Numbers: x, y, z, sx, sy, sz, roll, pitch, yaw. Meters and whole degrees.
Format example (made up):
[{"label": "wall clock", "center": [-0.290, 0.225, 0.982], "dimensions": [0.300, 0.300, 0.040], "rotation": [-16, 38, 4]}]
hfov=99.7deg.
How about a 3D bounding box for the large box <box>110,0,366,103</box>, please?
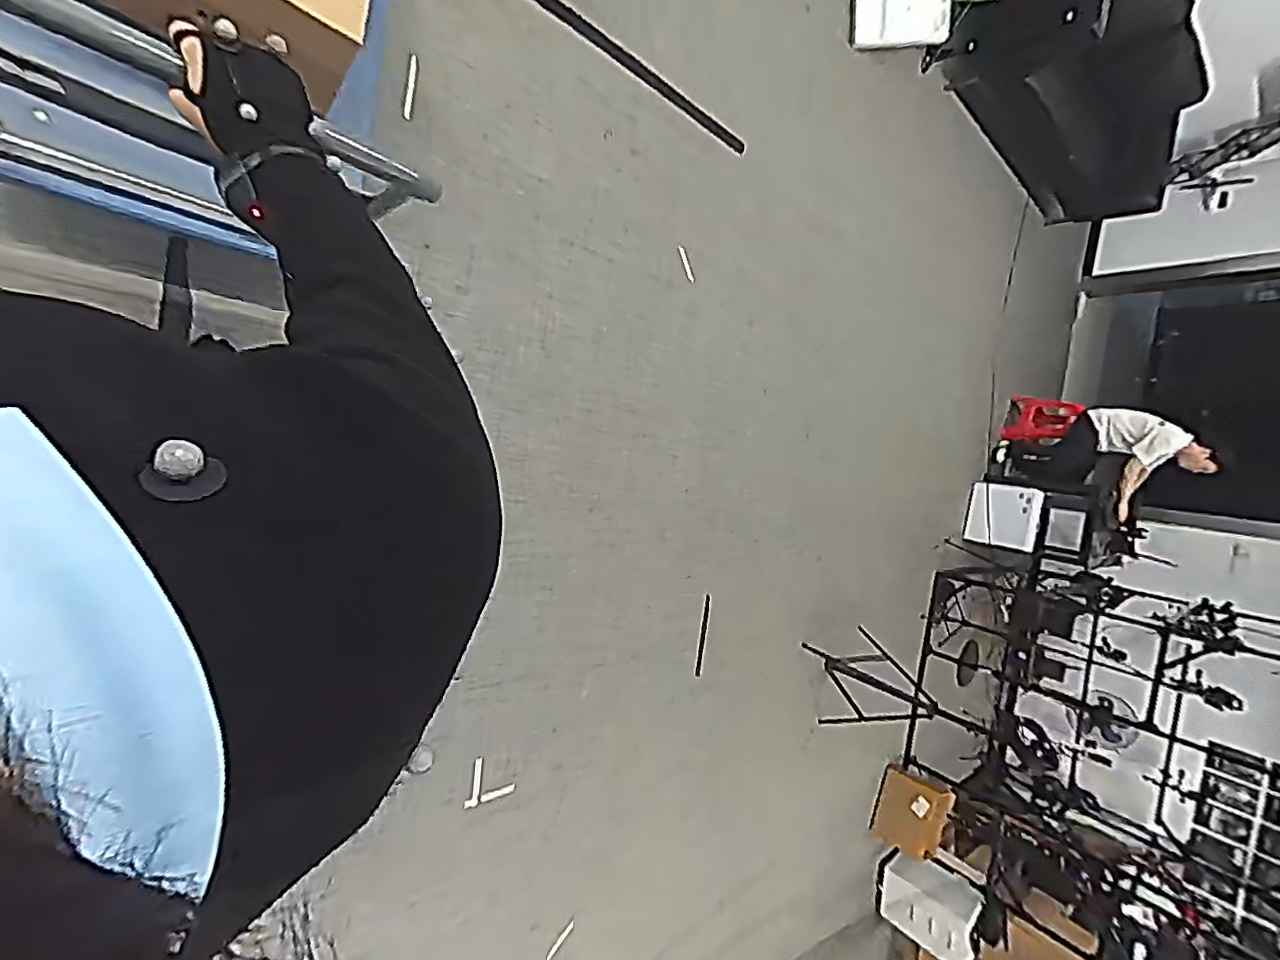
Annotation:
[{"label": "large box", "center": [-0.660, -0.897, 0.839], "dimensions": [0.408, 0.320, 0.320], "rotation": [10, 90, -40]}]
